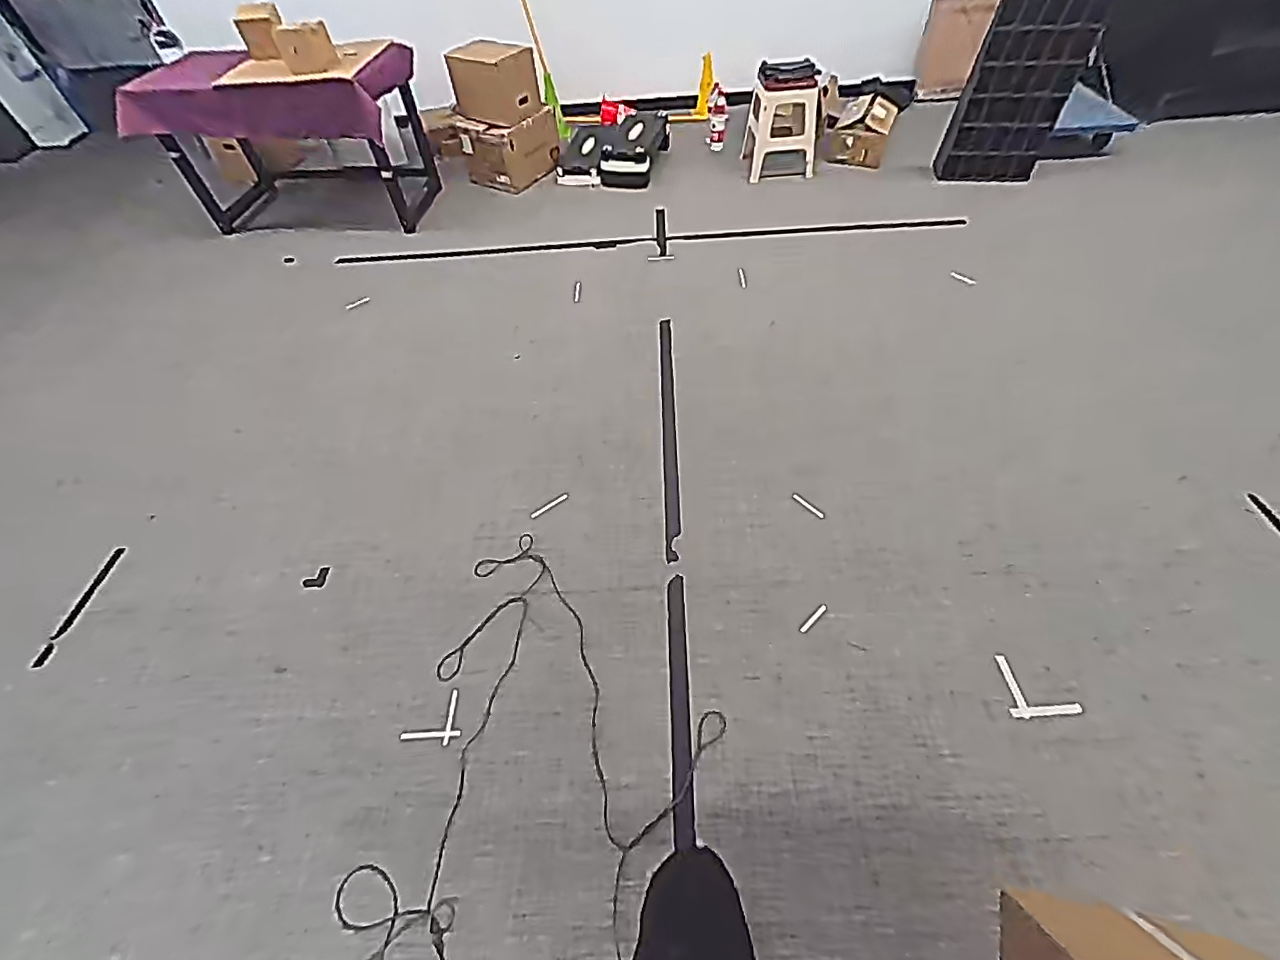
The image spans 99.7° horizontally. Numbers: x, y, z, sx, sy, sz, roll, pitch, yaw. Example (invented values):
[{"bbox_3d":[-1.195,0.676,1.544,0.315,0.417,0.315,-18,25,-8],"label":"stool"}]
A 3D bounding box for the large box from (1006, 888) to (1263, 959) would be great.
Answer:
[{"bbox_3d":[0.624,0.721,0.547,0.320,0.408,0.320,7,78,14],"label":"large box"}]
